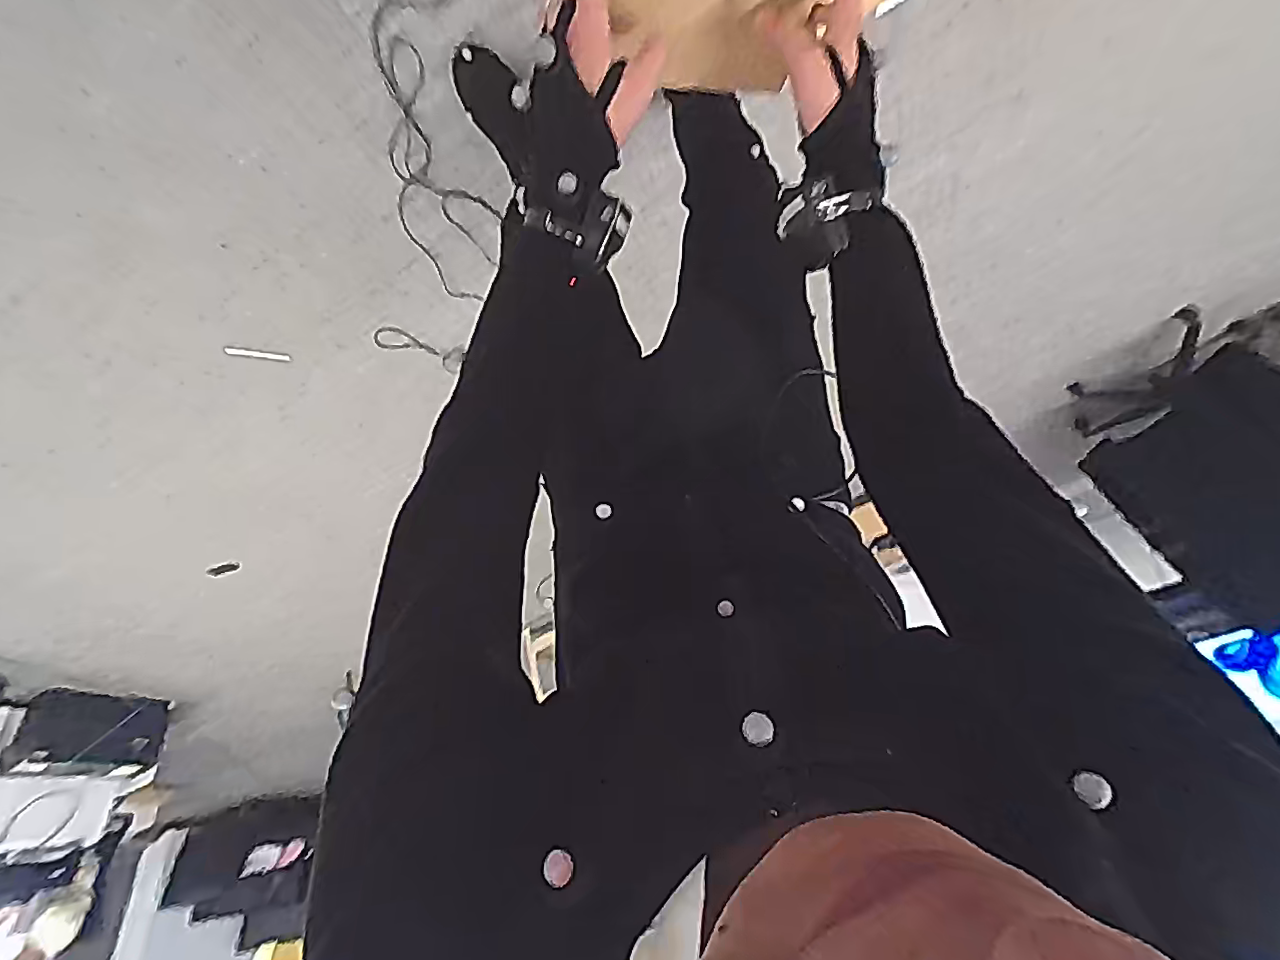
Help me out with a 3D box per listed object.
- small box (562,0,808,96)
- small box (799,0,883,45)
[{"bbox_3d":[0.033,-0.444,0.428,0.179,0.176,0.168,-8,153,-17],"label":"small box"},{"bbox_3d":[0.309,-0.861,0.863,0.168,0.176,0.179,-27,142,19],"label":"small box"}]
